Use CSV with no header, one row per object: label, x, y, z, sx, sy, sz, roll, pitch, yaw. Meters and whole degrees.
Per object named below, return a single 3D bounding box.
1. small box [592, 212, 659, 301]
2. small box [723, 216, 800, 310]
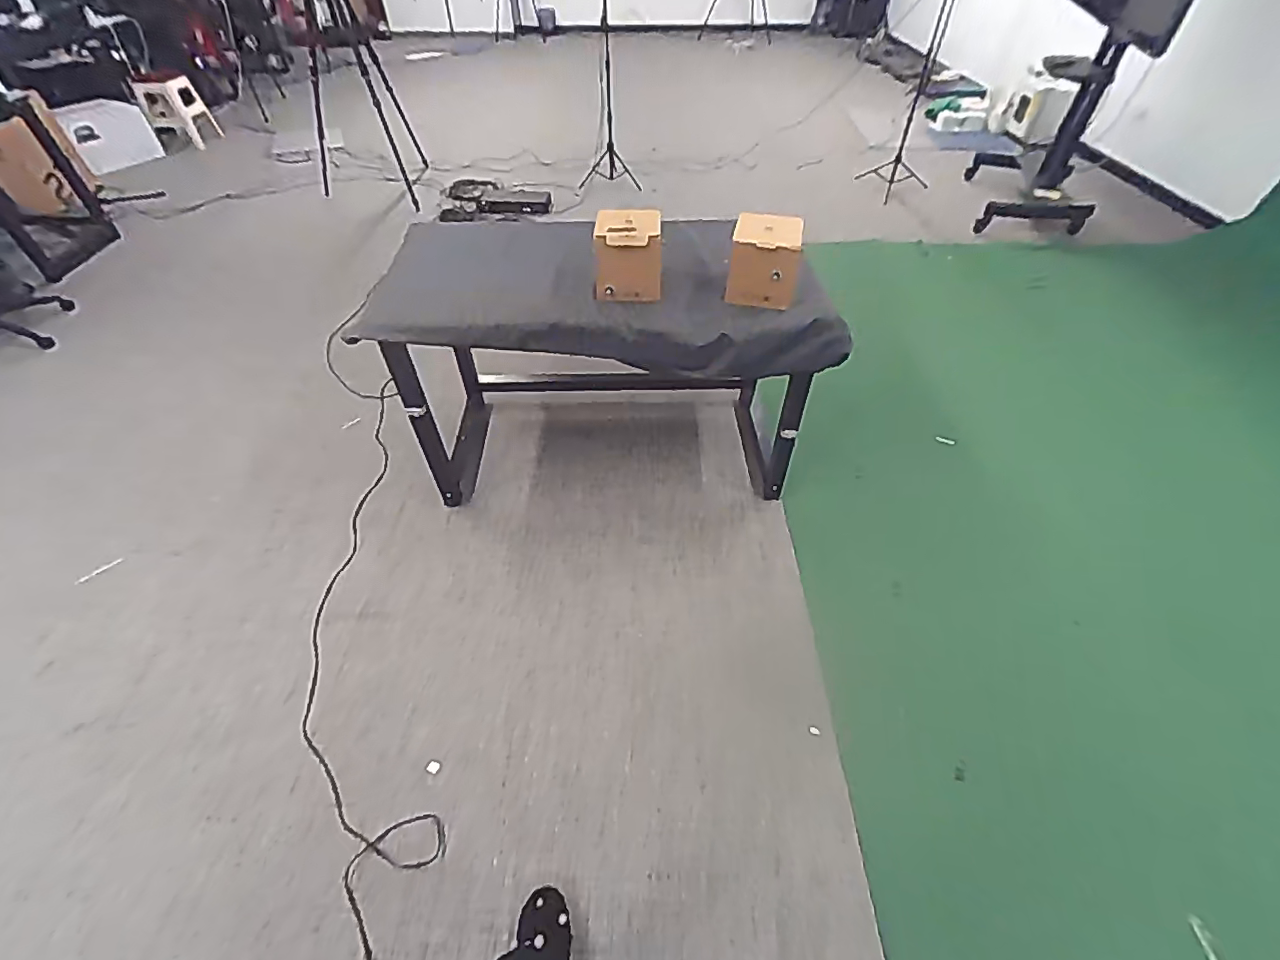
small box,-0.033,-0.585,1.423,0.168,0.176,0.179,1,46,0
small box,0.312,-0.560,1.401,0.168,0.176,0.179,10,46,8
